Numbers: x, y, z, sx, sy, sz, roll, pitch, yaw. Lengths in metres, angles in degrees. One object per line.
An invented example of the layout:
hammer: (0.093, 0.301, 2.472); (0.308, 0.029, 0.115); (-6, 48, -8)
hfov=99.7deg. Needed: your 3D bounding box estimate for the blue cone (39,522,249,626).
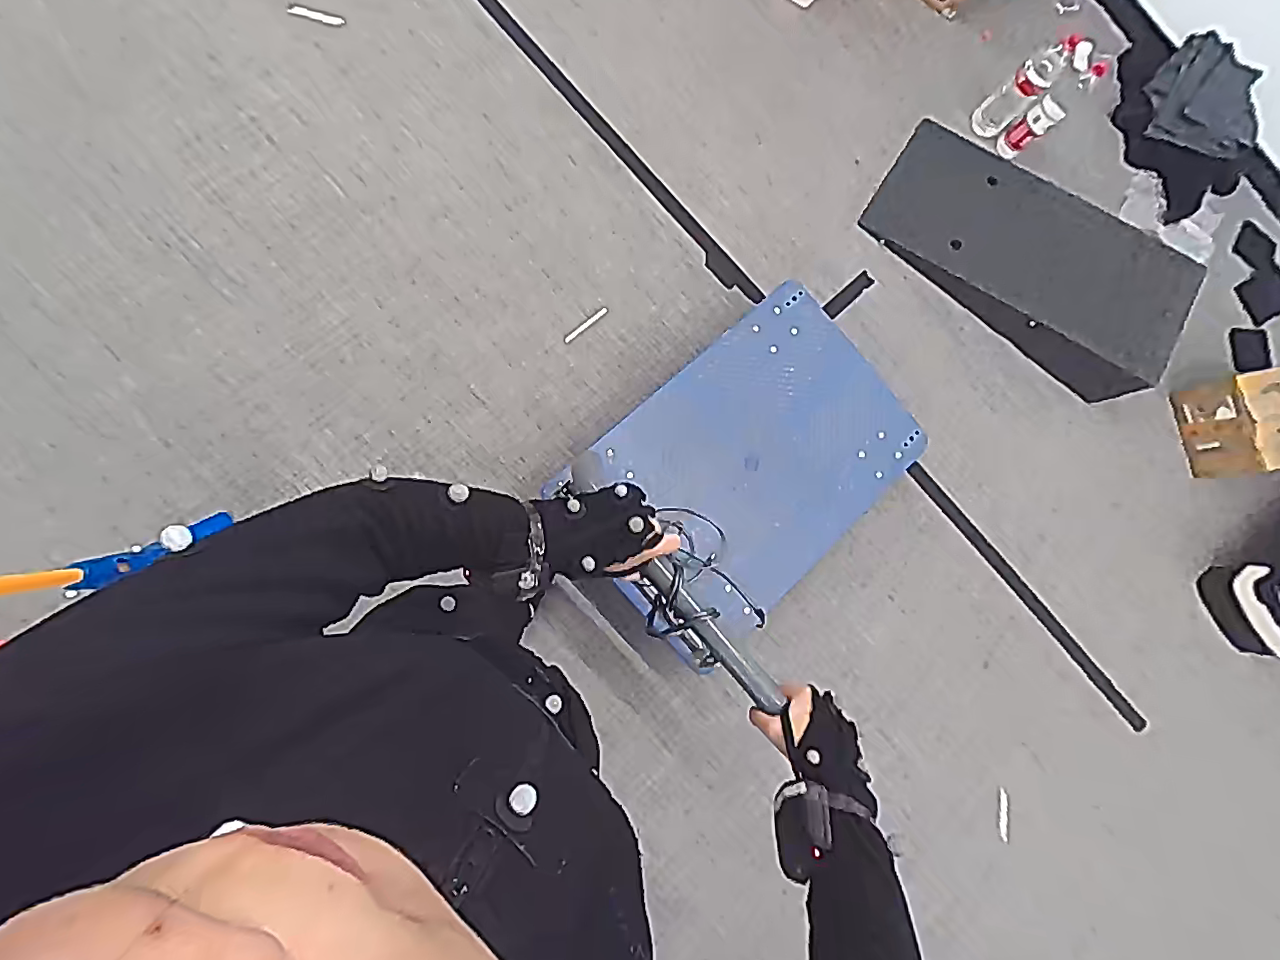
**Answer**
blue cone: (-0.960, 0.184, 1.041); (0.192, 0.380, 0.193); (-27, 89, -13)
